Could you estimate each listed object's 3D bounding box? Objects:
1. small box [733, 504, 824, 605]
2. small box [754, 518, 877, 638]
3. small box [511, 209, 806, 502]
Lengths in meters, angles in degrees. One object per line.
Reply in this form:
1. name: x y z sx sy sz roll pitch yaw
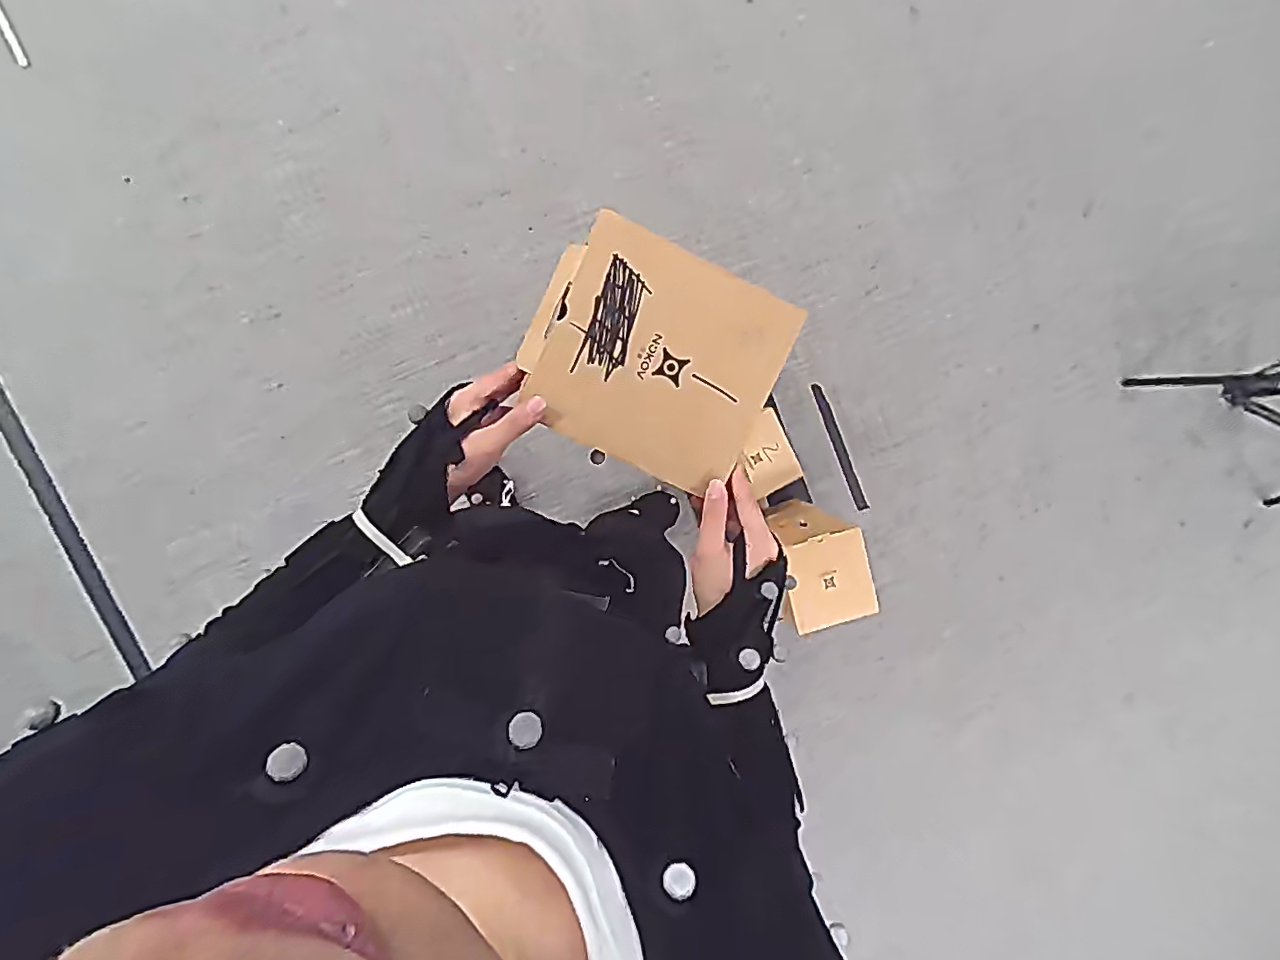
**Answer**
1. small box: 0.328 0.165 1.253 0.179 0.176 0.168 -18 97 -4
2. small box: 0.346 0.189 1.093 0.168 0.176 0.179 -15 95 -3
3. small box: 0.009 -0.098 0.484 0.179 0.176 0.168 25 95 -7
